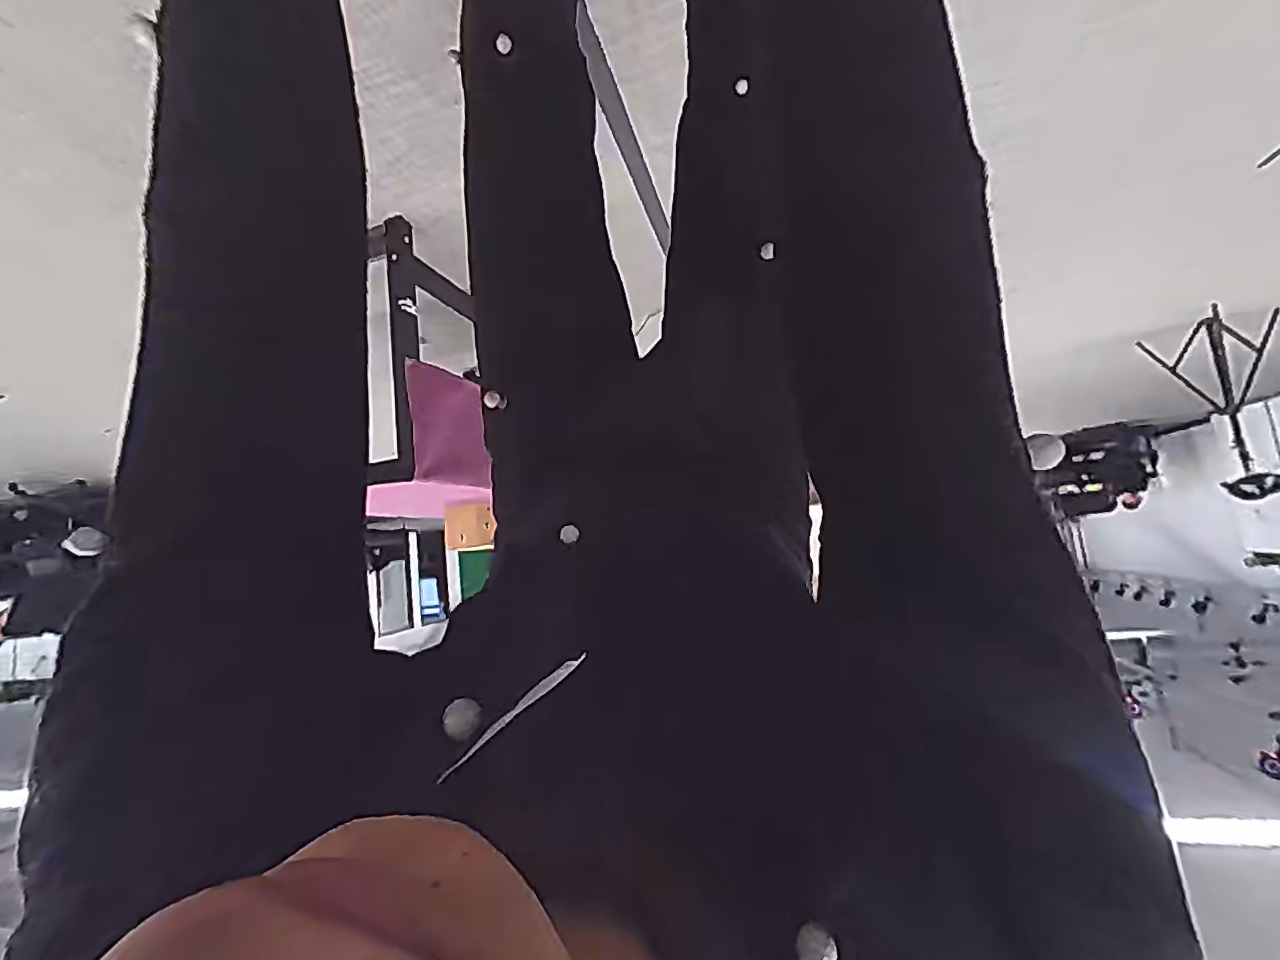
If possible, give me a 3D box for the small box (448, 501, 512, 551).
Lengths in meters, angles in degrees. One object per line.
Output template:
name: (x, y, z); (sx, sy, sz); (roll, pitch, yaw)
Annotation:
small box: (-0.620, 0.175, 2.078); (0.179, 0.176, 0.168); (-10, 171, 28)
